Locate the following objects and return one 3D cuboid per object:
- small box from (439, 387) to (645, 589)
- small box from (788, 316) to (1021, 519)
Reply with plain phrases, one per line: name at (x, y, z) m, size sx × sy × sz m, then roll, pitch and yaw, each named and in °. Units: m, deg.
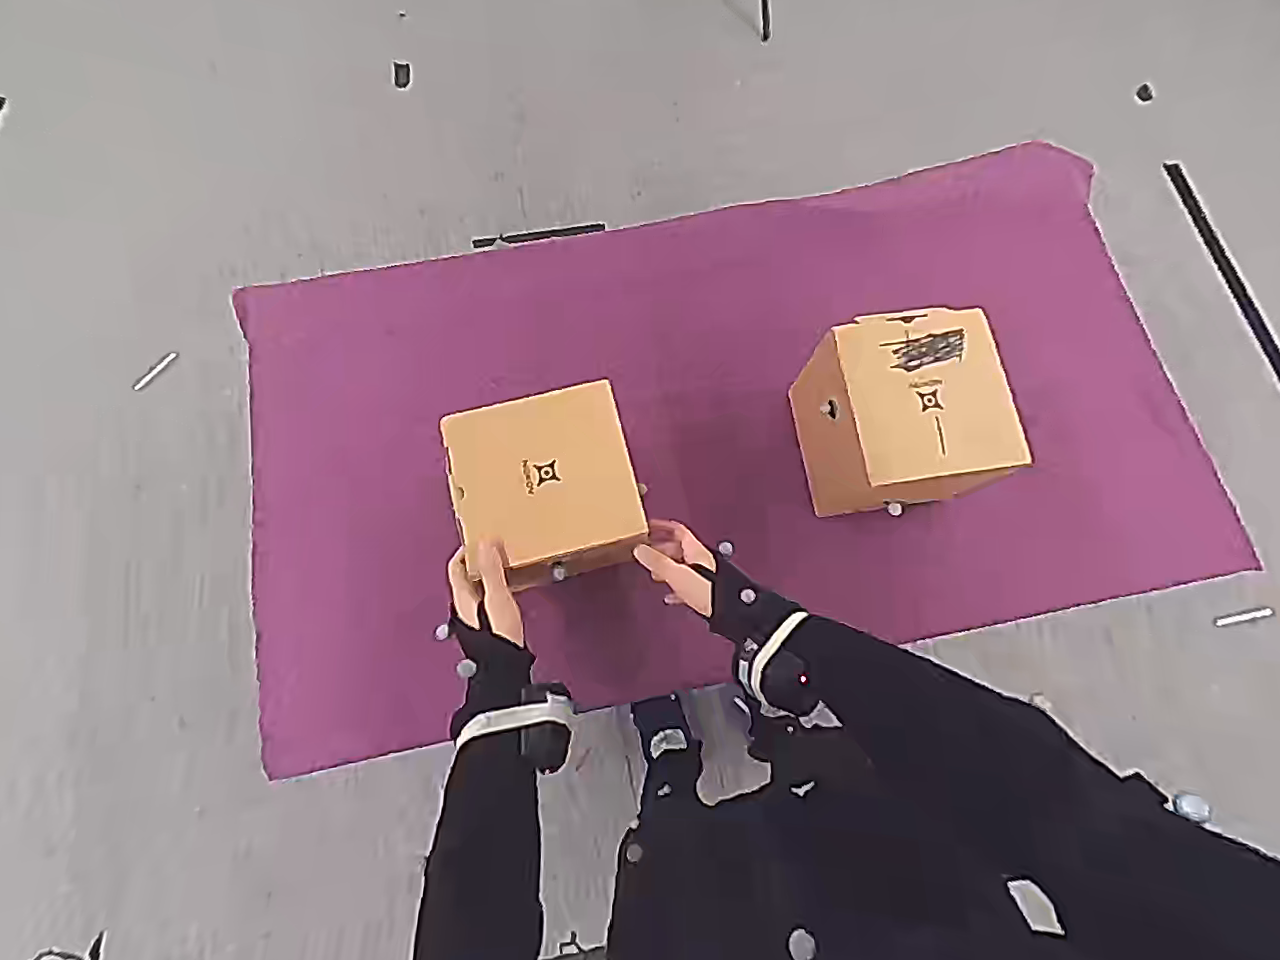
small box at (-0.100, 0.019, 0.606) m, size 0.179 × 0.176 × 0.168 m, roll -15°, pitch 76°, yaw -4°
small box at (0.285, -0.063, 0.630) m, size 0.168 × 0.176 × 0.179 m, roll -8°, pitch 76°, yaw -2°
